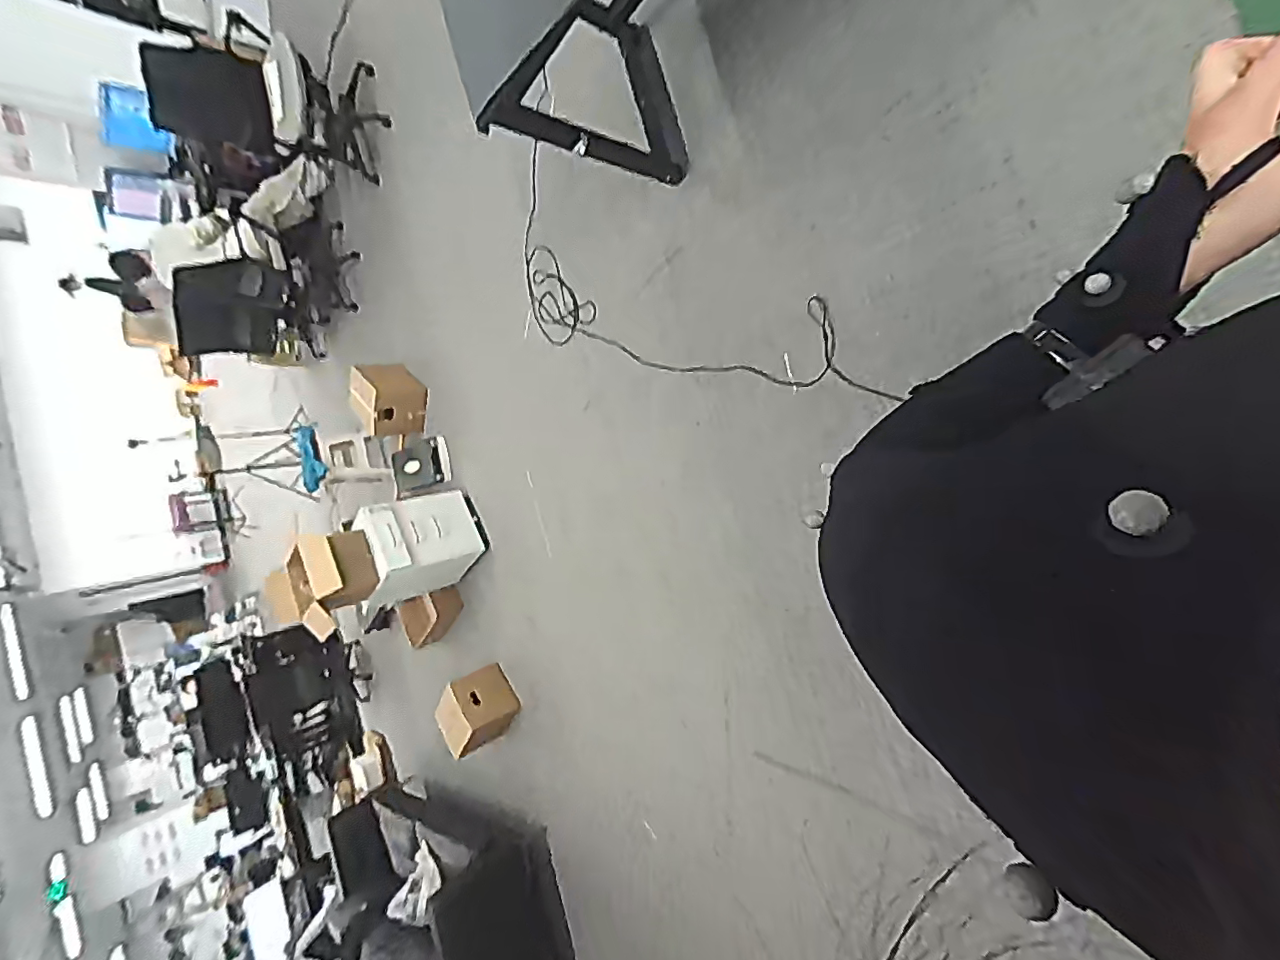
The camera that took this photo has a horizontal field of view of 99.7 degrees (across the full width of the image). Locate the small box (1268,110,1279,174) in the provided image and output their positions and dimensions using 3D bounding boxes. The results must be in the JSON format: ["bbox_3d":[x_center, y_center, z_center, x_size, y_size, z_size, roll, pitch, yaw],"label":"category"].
[{"bbox_3d":[0.483,-0.275,0.286,0.168,0.176,0.179,18,109,42],"label":"small box"}]
